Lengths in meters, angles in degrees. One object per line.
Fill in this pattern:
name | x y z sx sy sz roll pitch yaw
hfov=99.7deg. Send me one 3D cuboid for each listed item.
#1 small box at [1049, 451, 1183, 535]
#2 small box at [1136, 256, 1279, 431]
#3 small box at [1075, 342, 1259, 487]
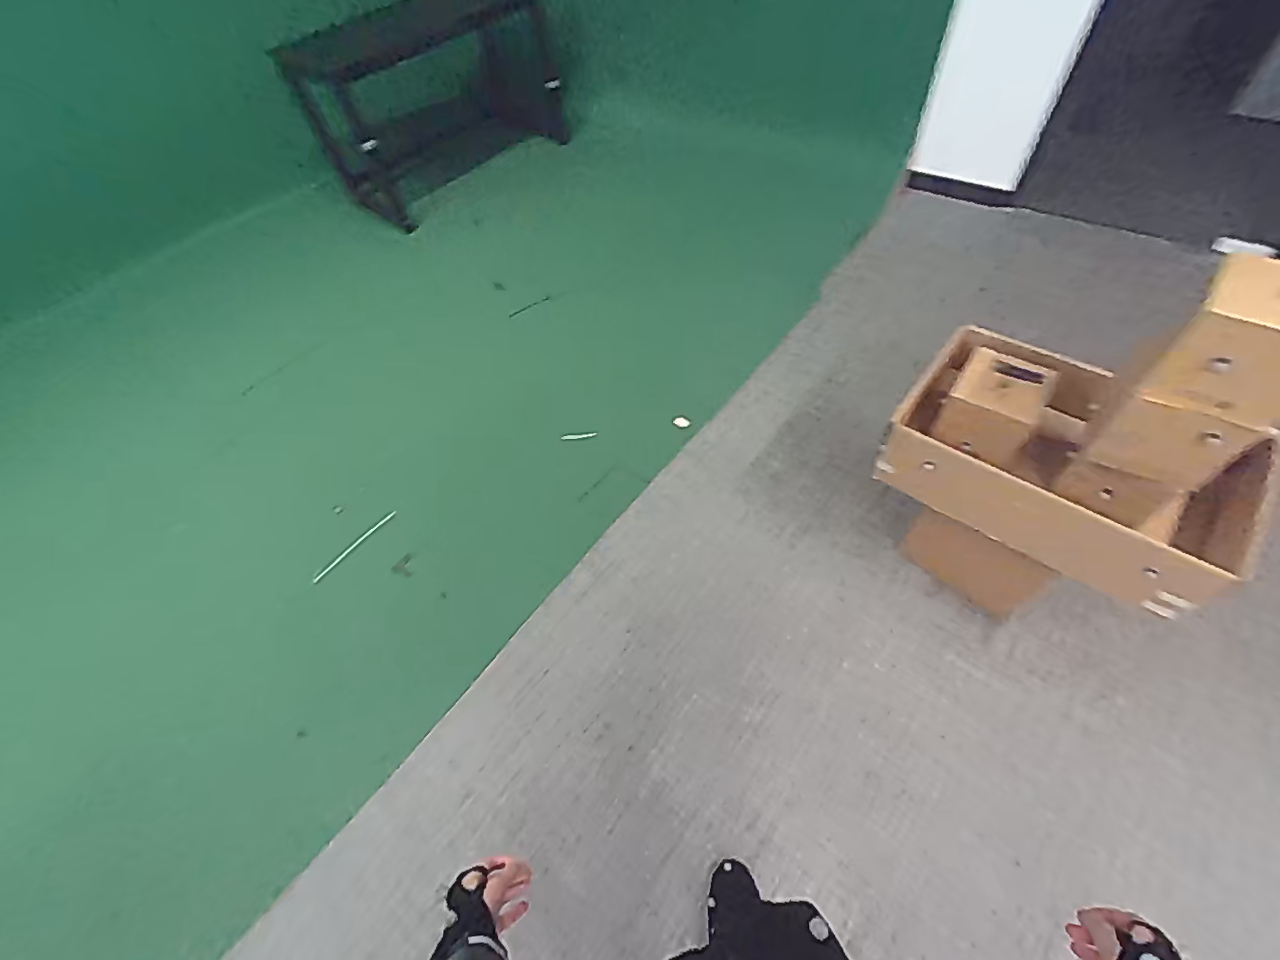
small box | 0.979 -0.020 1.095 0.179 0.176 0.168 -37 58 -17
small box | 0.921 -0.206 0.832 0.168 0.176 0.179 31 63 27
small box | 0.929 -0.111 0.963 0.179 0.176 0.168 23 59 23
